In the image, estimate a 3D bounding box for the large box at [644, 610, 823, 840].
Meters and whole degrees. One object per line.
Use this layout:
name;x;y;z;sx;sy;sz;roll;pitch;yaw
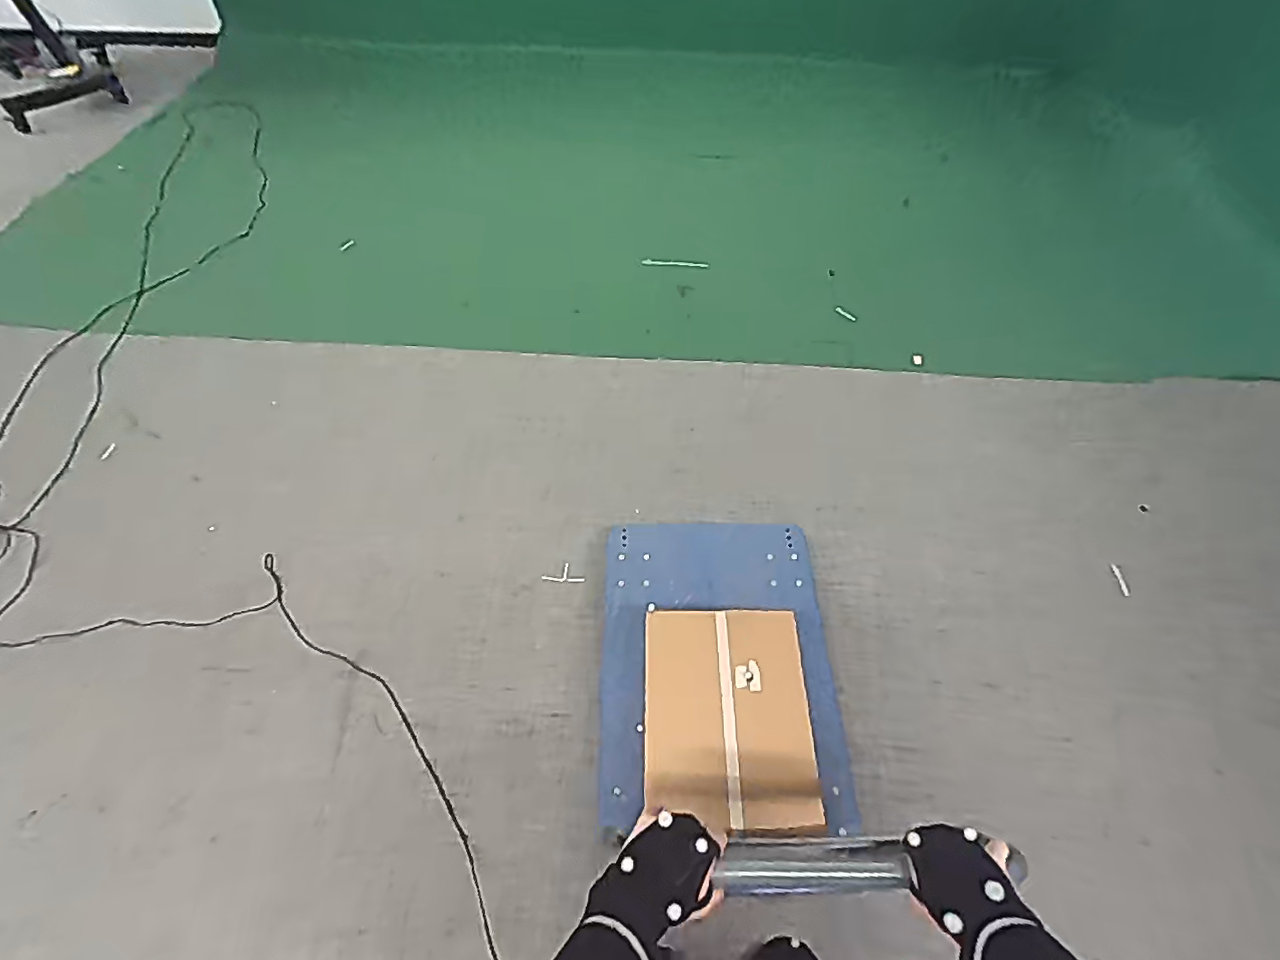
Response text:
large box;0.168;0.531;1.168;0.320;0.320;0.408;0;55;0
